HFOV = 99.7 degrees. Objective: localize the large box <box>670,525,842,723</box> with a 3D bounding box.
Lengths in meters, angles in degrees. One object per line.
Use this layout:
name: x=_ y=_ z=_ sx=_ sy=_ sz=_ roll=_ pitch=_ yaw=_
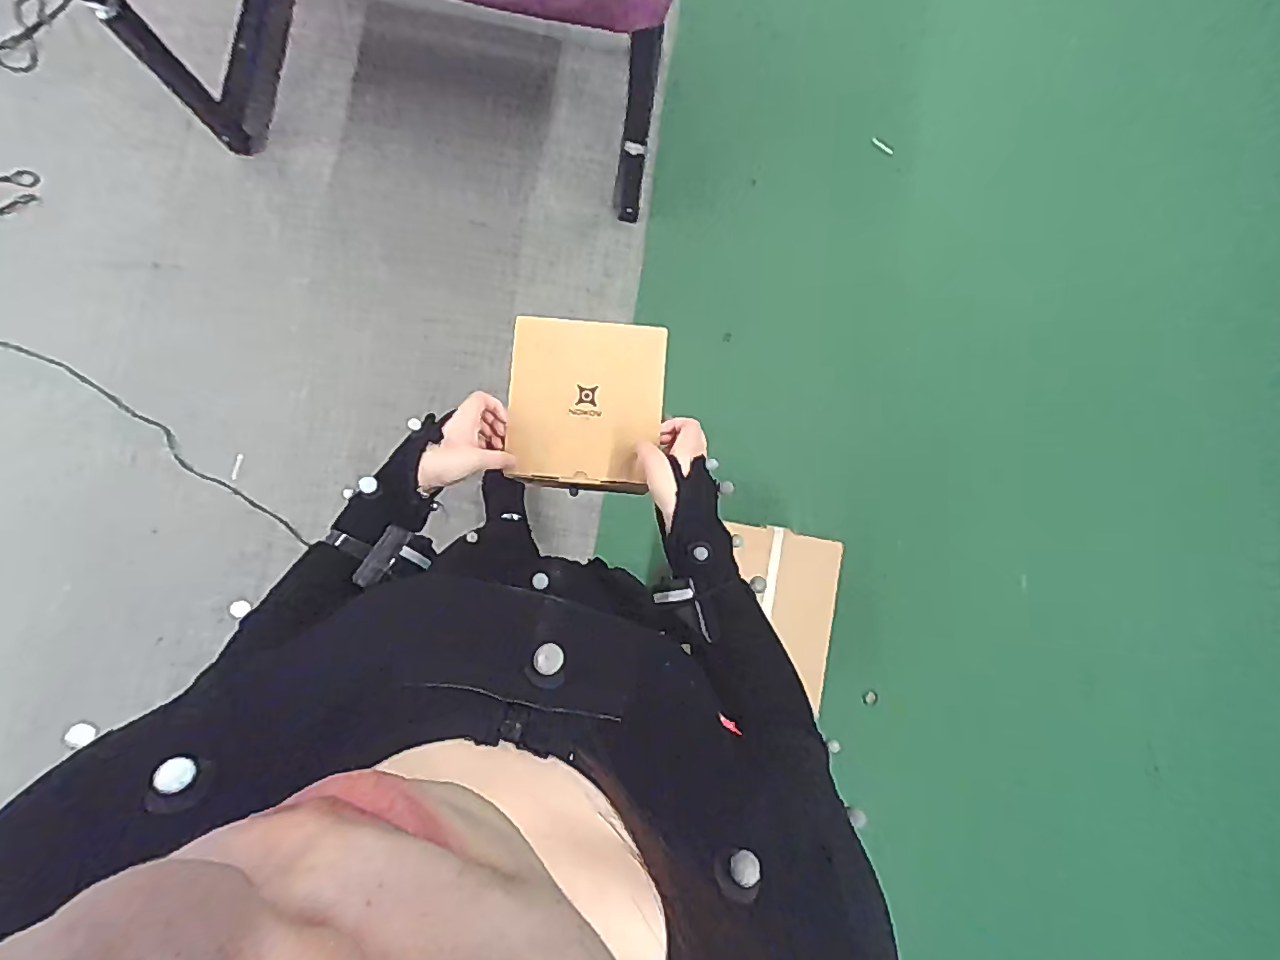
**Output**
large box: x=0.272 y=0.333 z=1.362 sx=0.320 sy=0.320 sz=0.408 roll=11 pitch=85 yaw=-2
